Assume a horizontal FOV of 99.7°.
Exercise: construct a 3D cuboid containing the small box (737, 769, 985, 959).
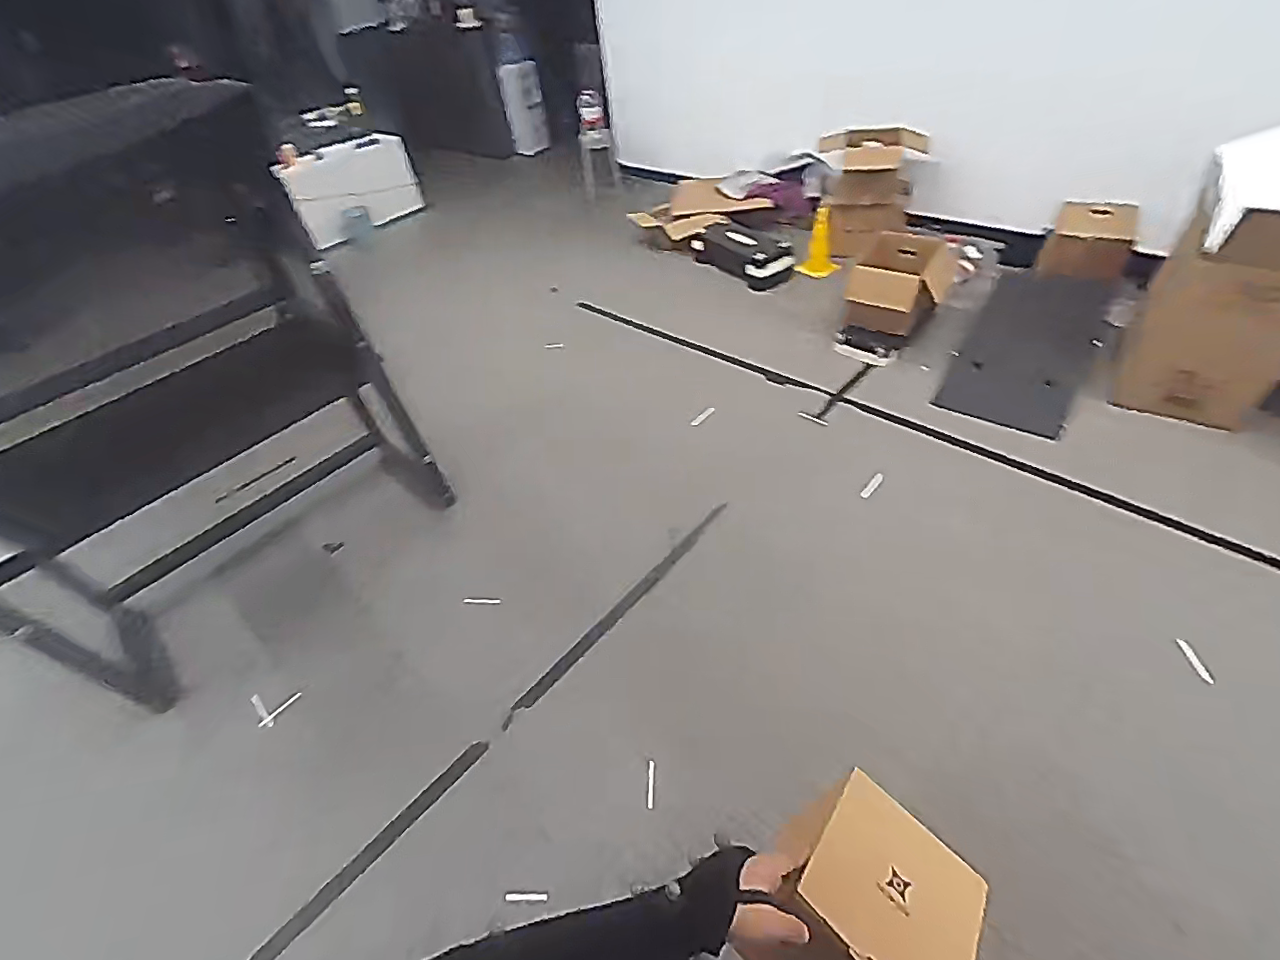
[{"bbox_3d":[0.233,0.470,0.590,0.168,0.176,0.179,39,39,21],"label":"small box"}]
